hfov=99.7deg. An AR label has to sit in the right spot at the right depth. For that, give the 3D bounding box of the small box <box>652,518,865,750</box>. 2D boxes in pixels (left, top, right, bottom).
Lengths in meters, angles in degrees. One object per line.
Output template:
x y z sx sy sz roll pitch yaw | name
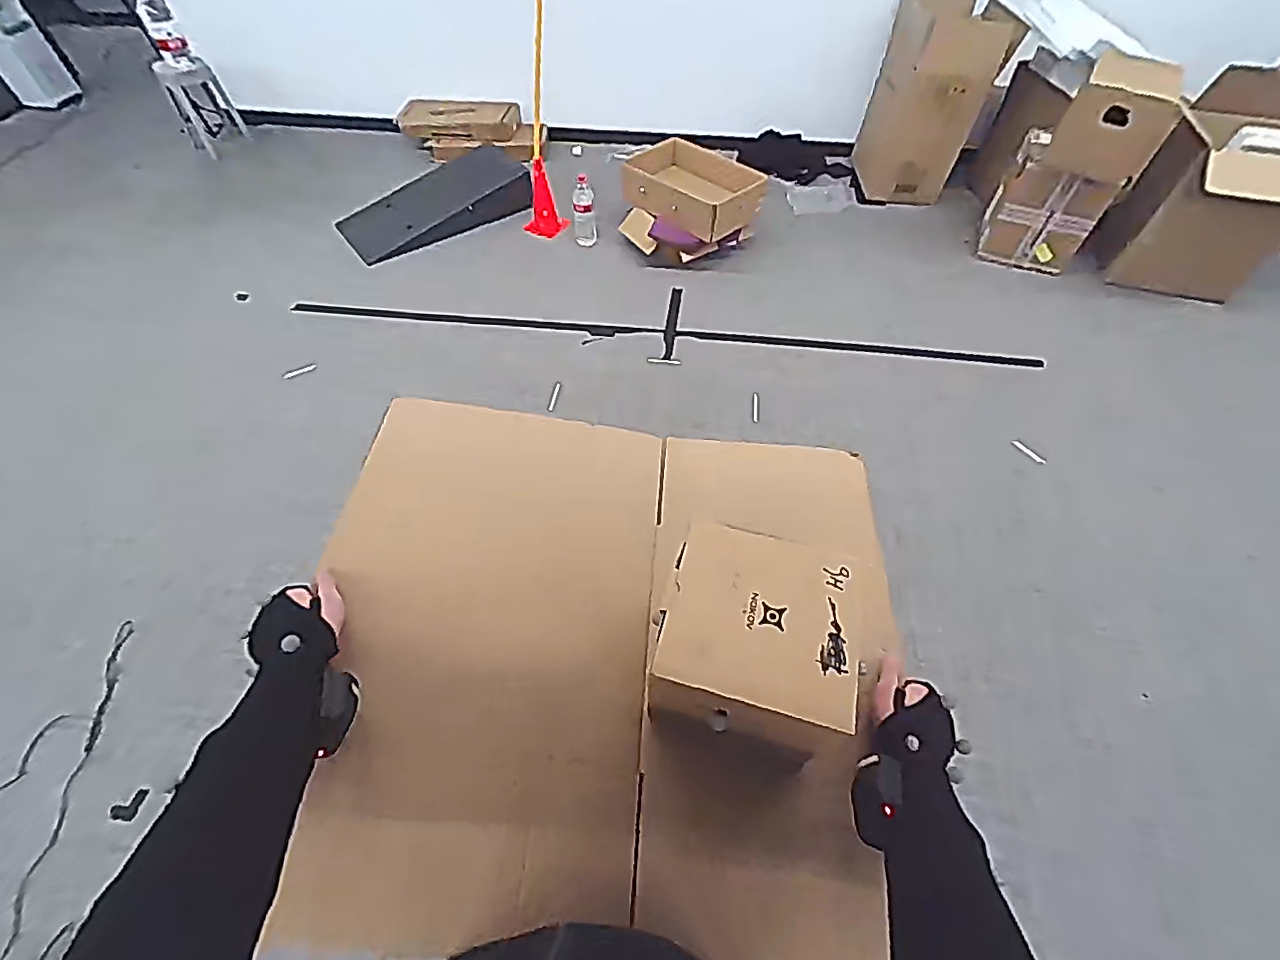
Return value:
0.118 0.167 0.570 0.179 0.176 0.168 13 57 10 | small box
